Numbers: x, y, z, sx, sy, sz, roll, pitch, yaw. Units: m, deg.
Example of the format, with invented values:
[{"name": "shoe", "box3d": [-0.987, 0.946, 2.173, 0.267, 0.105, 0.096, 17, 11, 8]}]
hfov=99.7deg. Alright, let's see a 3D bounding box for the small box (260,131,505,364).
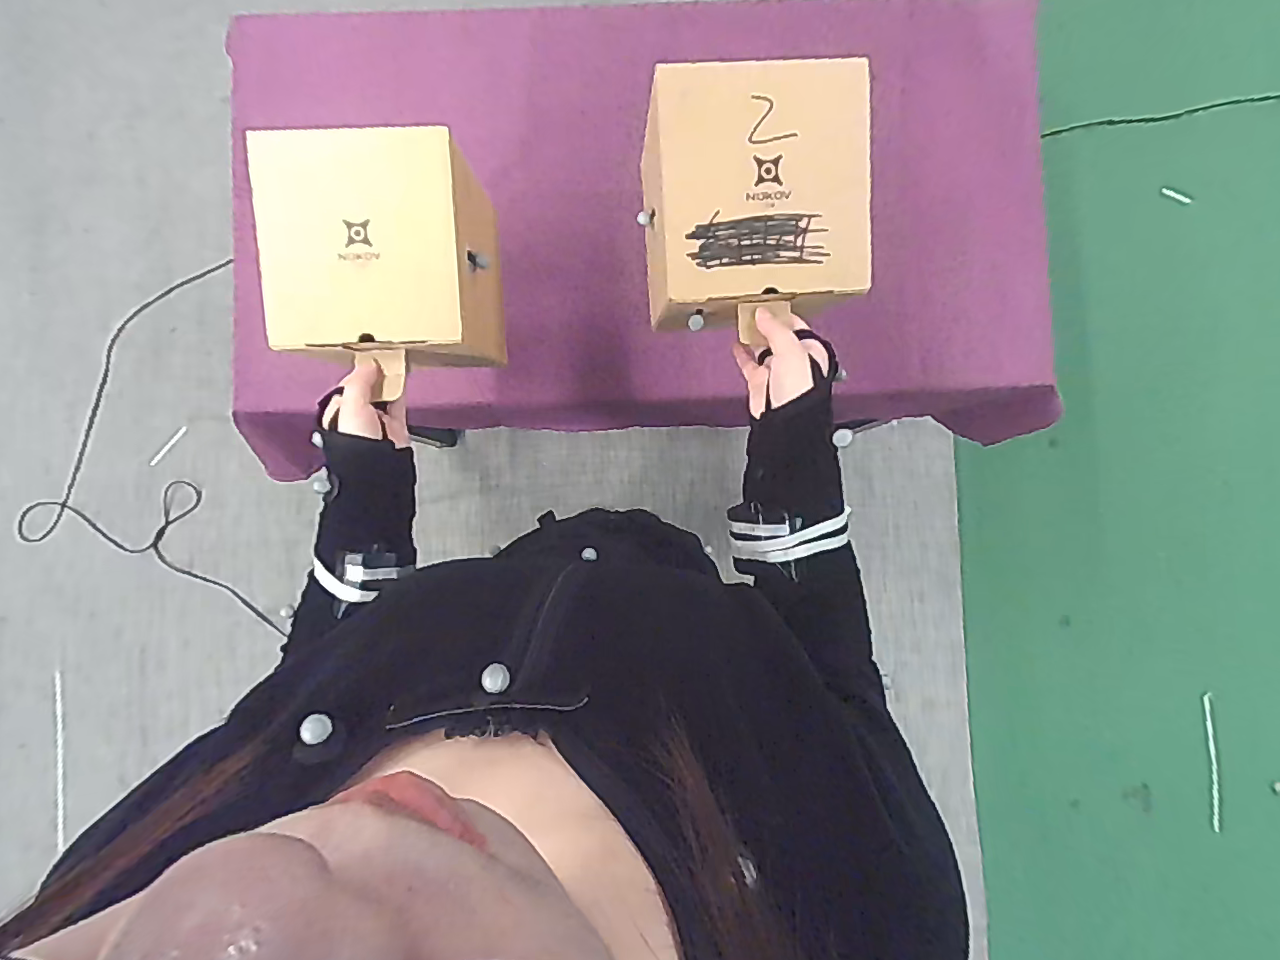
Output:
[{"name": "small box", "box3d": [-0.238, -0.216, 0.544, 0.168, 0.176, 0.179, -2, 97, -1]}]
